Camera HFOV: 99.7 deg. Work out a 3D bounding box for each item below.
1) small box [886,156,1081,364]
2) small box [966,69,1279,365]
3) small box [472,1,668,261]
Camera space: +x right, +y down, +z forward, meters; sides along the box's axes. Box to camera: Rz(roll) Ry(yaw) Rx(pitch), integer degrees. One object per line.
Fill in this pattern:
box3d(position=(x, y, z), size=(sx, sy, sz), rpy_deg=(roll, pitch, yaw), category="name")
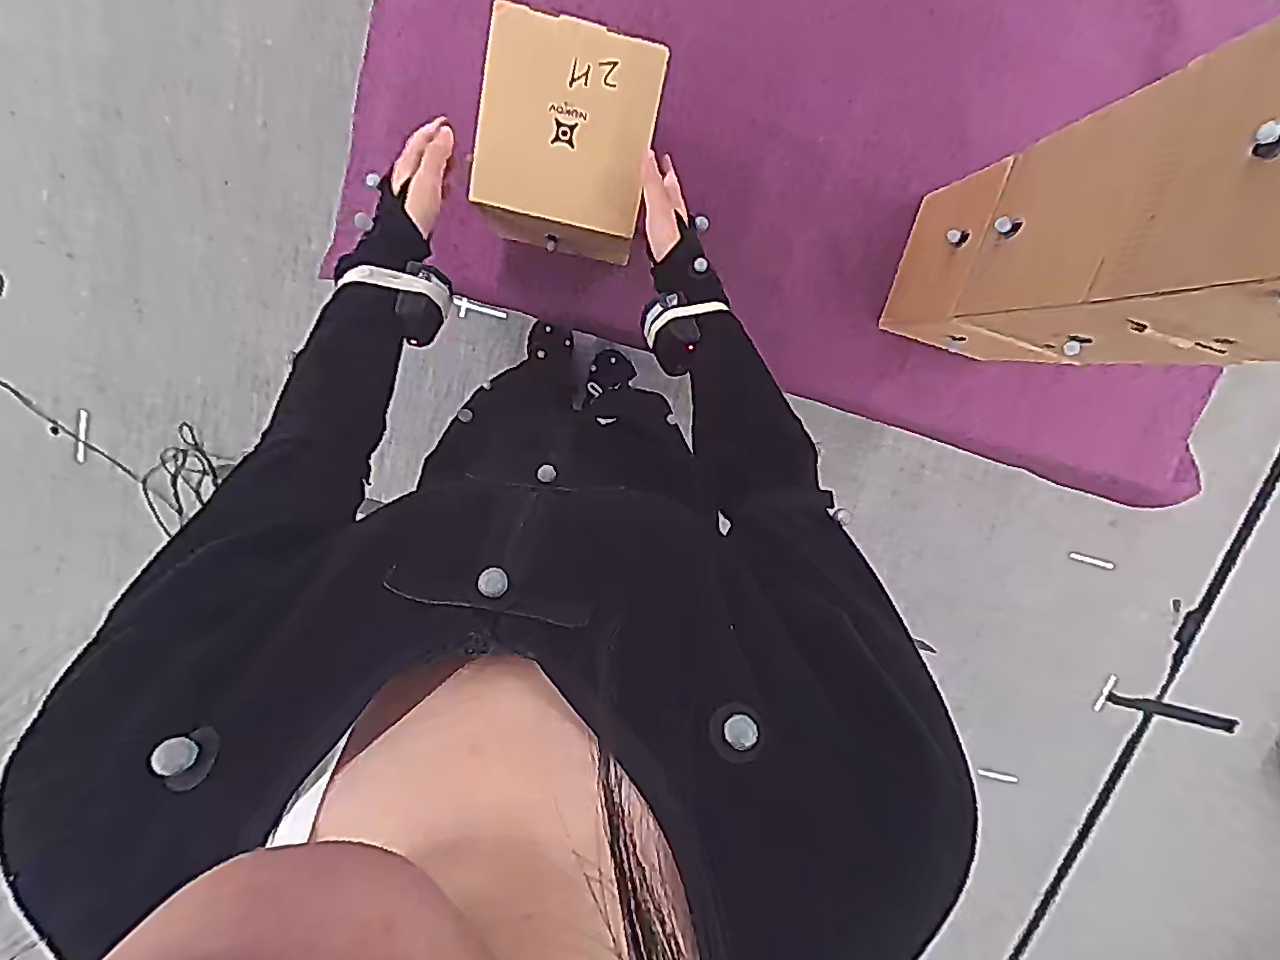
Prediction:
box3d(position=(0.432, -0.249, 0.657), size=(0.168, 0.176, 0.179), rpy_deg=(15, 101, -7), category="small box")
box3d(position=(0.444, -0.215, 0.497), size=(0.168, 0.176, 0.179), rpy_deg=(16, 102, -7), category="small box")
box3d(position=(-0.072, -0.355, 0.592), size=(0.168, 0.176, 0.179), rpy_deg=(10, 101, -5), category="small box")
